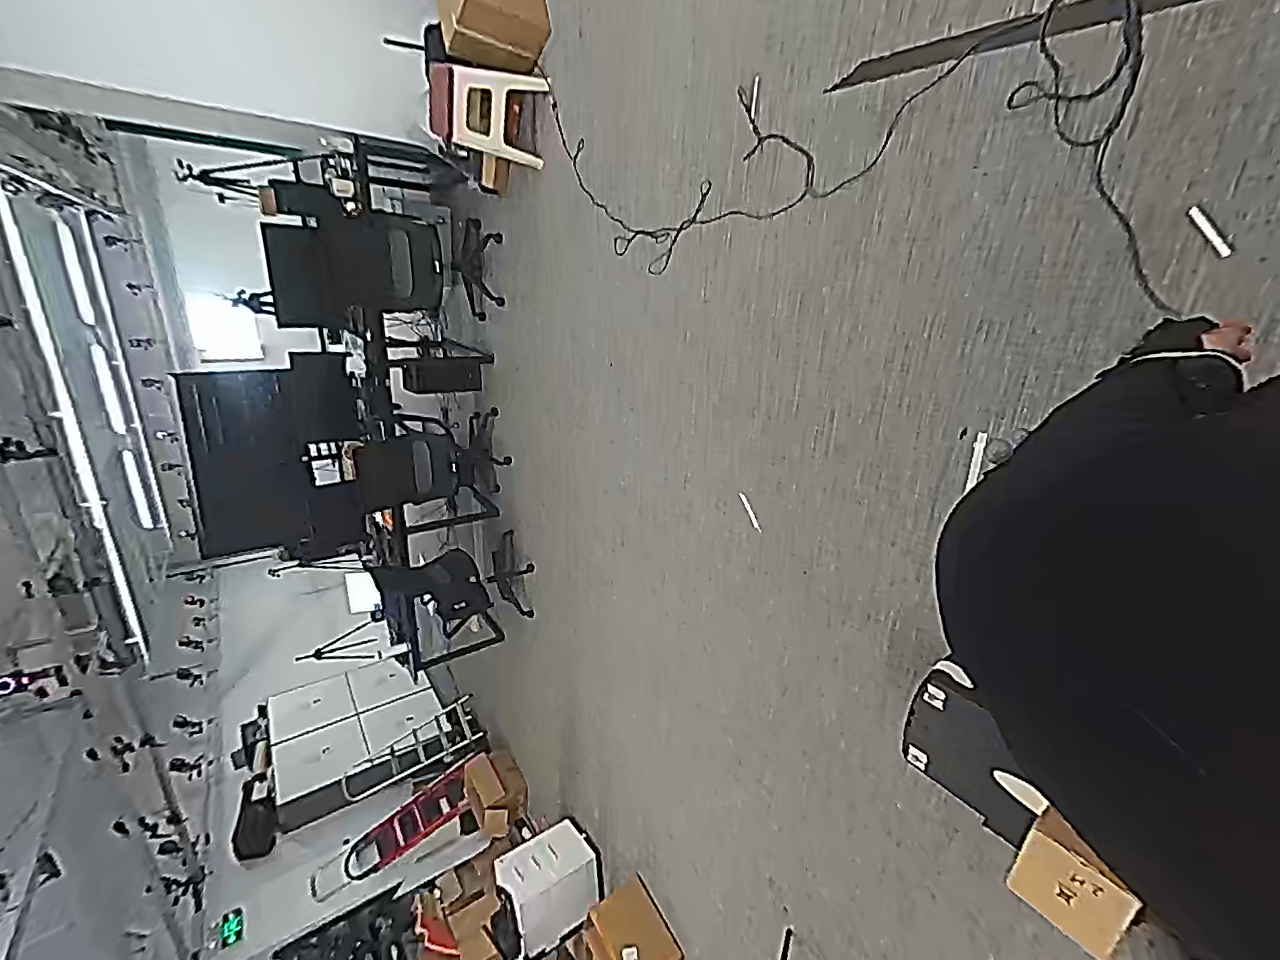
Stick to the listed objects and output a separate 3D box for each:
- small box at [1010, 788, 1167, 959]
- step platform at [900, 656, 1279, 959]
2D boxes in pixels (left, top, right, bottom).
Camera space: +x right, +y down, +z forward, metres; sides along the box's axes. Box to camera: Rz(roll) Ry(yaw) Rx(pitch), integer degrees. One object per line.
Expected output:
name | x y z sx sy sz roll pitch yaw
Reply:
small box | 0.854 0.742 1.031 0.168 0.176 0.179 29 122 47
step platform | 0.946 0.704 1.197 0.684 0.204 0.286 27 121 48
